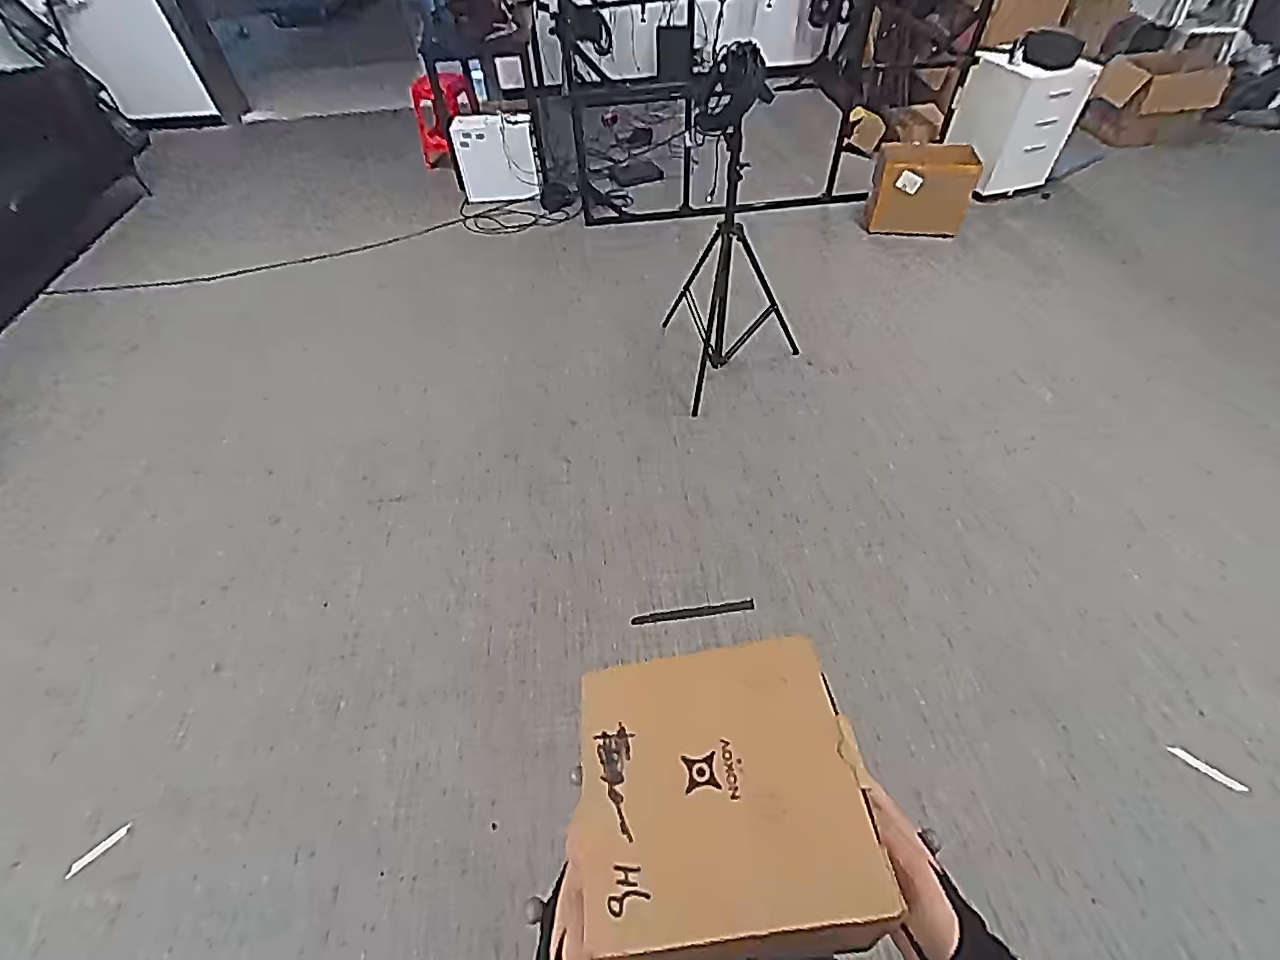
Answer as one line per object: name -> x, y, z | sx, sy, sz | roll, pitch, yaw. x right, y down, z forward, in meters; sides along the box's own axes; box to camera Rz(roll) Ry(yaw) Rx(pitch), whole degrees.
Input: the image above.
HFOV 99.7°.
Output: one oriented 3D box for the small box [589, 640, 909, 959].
small box -> 0.063, 0.243, 0.400 | 0.179, 0.176, 0.168 | -9, 43, 3
